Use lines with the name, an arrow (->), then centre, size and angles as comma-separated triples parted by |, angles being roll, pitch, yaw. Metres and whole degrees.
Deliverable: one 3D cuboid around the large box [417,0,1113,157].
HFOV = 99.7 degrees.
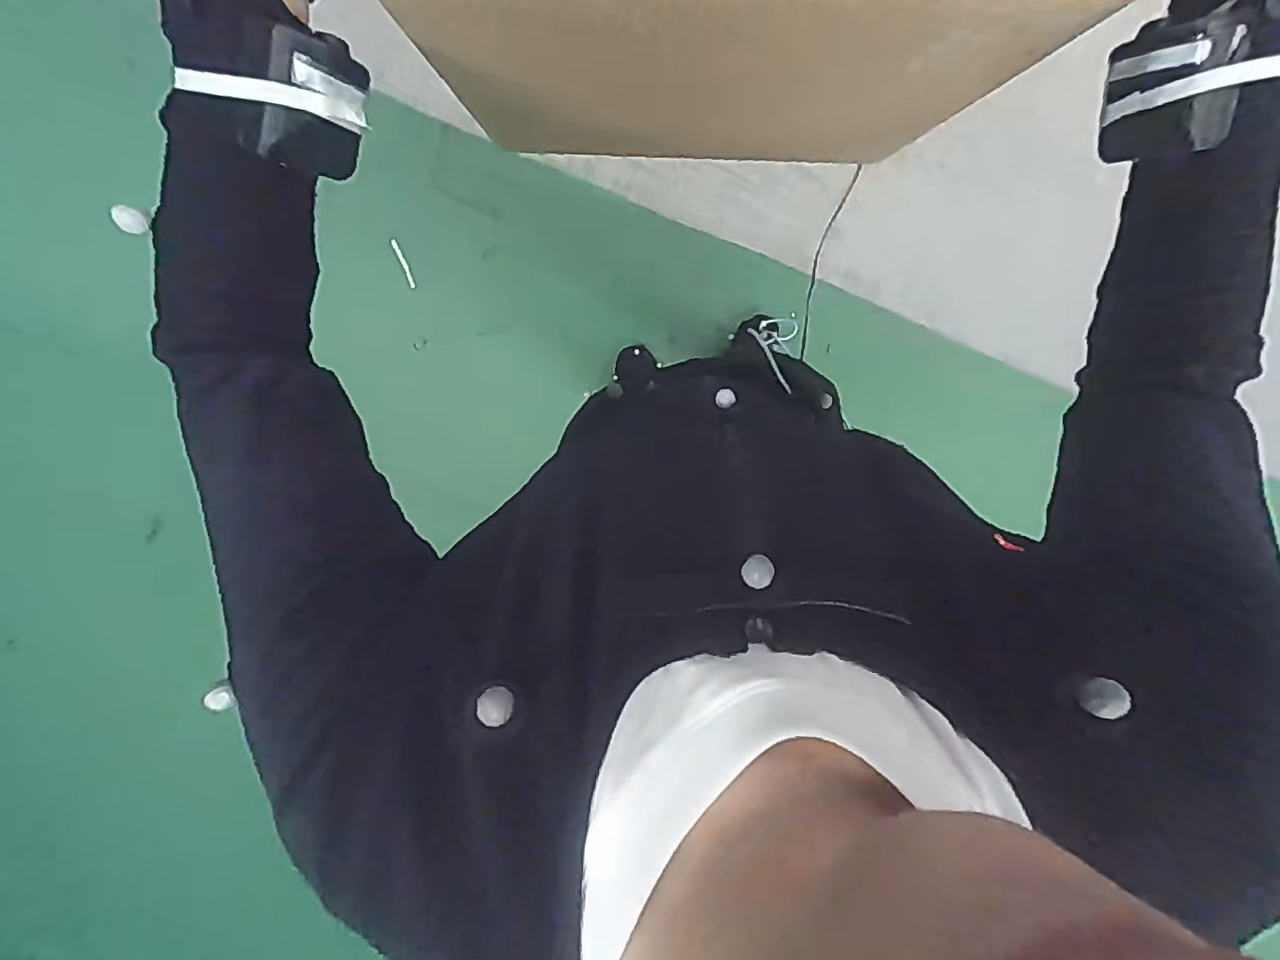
large box -> 0.065, -0.446, 0.385 | 0.408, 0.320, 0.320 | 0, 107, -2
